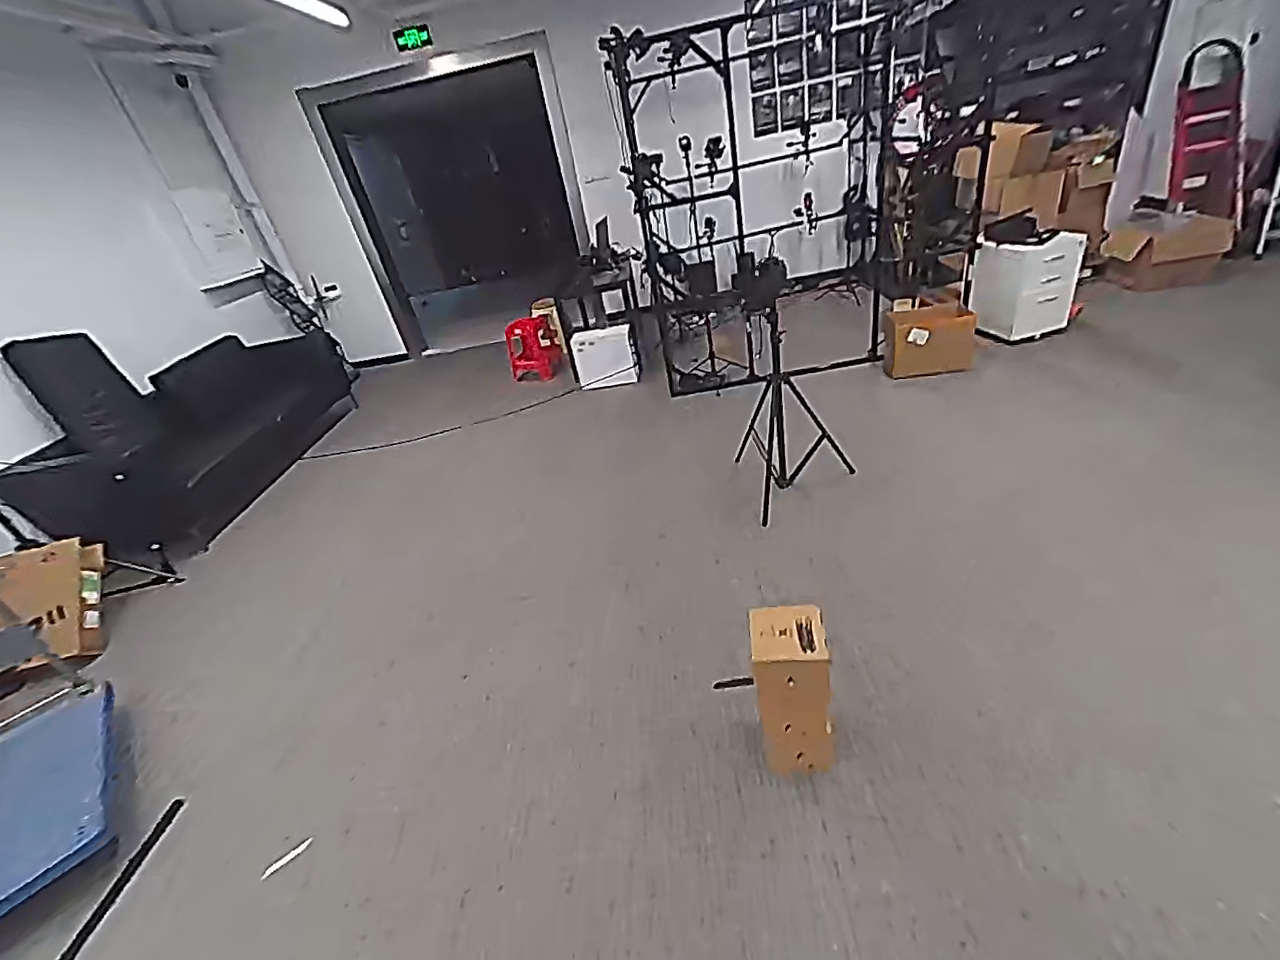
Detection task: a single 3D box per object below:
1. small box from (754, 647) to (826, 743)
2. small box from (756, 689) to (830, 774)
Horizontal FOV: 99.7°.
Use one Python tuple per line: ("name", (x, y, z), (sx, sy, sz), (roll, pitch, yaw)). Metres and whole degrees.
("small box", (0.397, 0.572, 1.442), (0.168, 0.176, 0.179), (-7, 32, 10))
("small box", (0.432, 0.705, 1.528), (0.168, 0.176, 0.179), (-10, 30, 4))
